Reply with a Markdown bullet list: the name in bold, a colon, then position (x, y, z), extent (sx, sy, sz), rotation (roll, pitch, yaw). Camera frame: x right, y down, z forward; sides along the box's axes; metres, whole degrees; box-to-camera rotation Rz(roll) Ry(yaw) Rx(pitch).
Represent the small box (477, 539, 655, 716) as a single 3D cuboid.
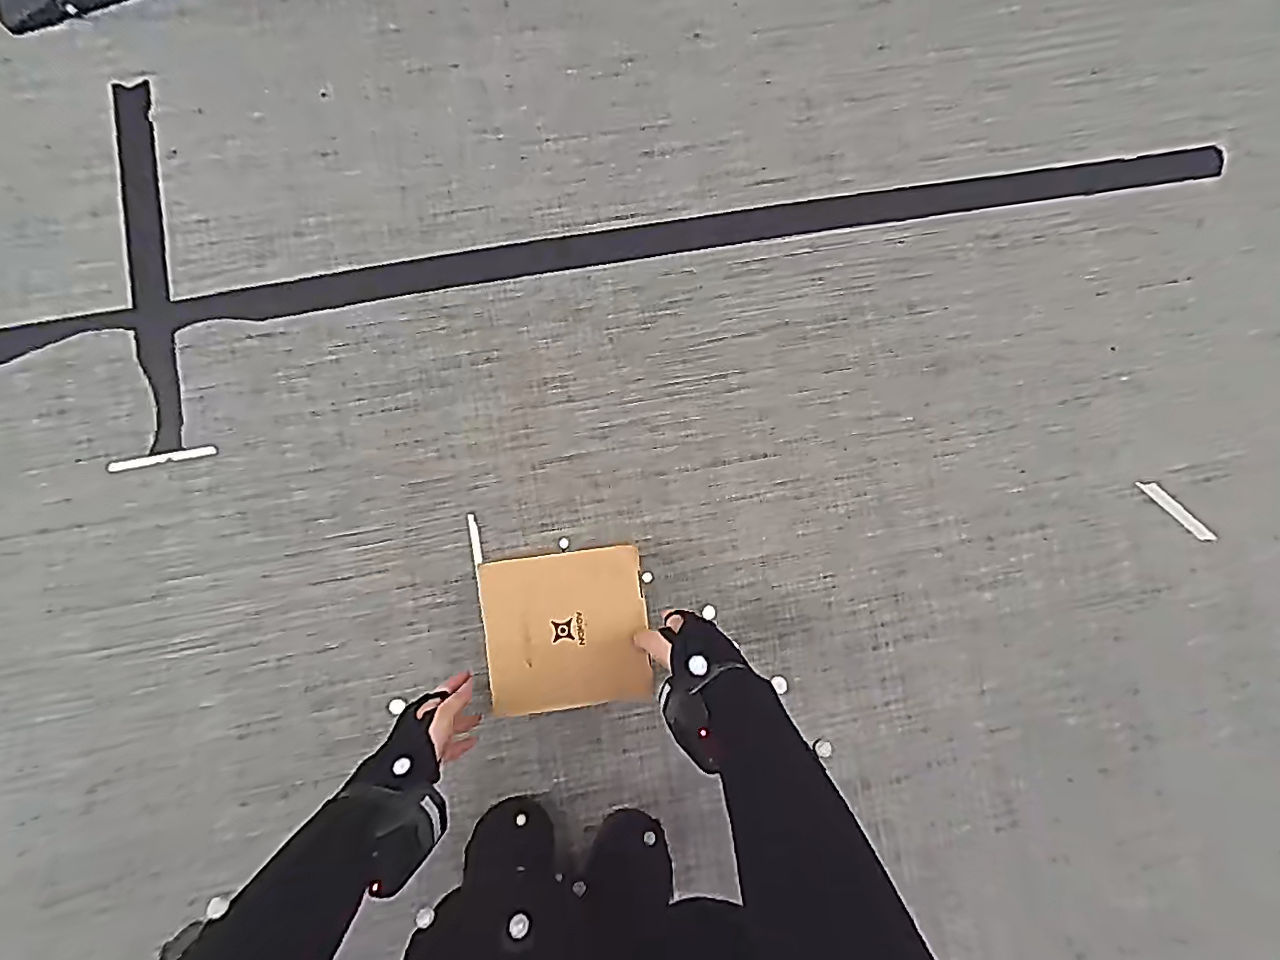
- **small box**: position (-0.083, 0.162, 0.650), extent (0.179, 0.176, 0.168), rotation (-6, 85, -3)
